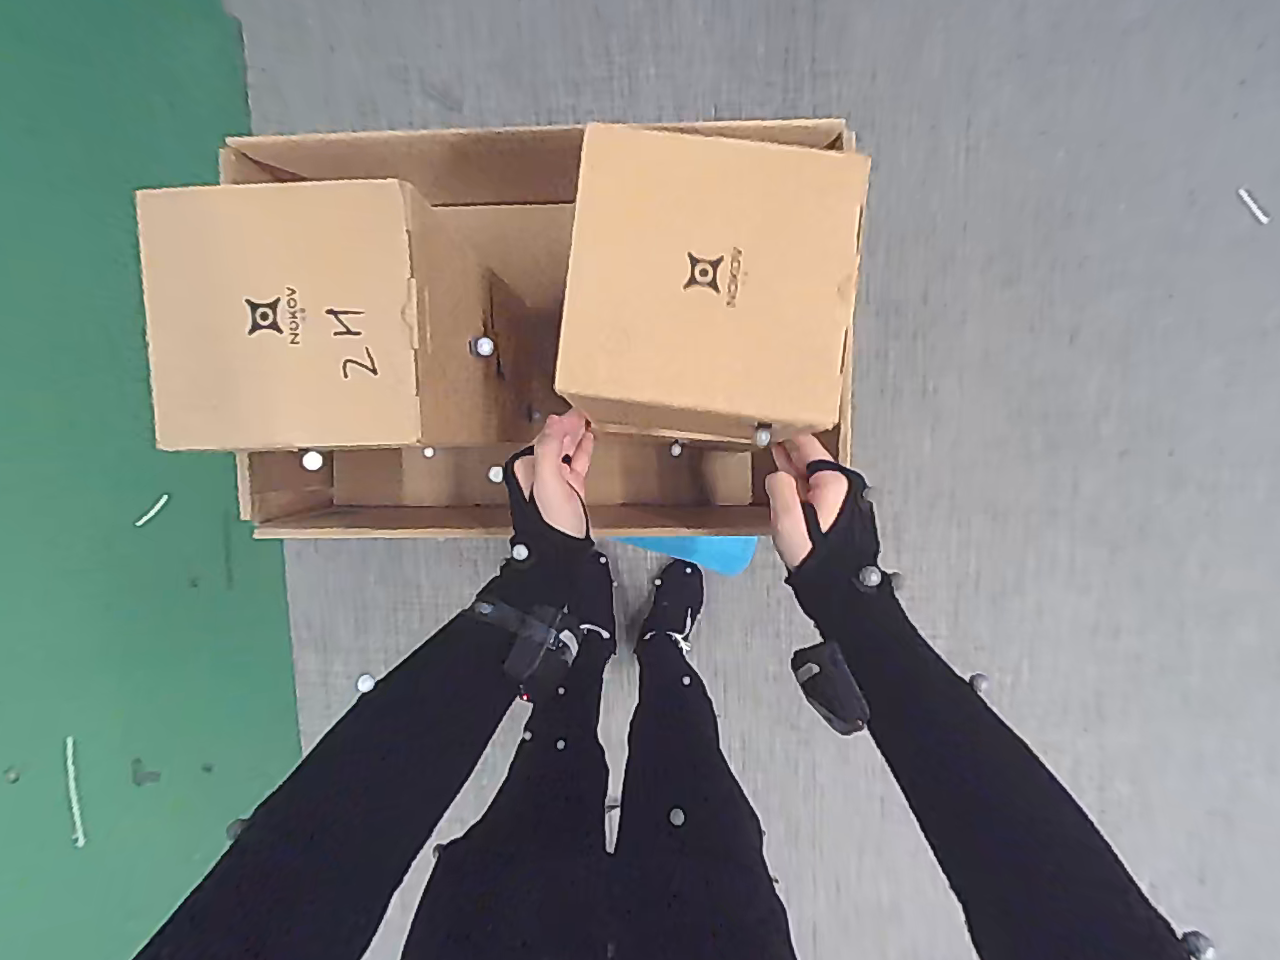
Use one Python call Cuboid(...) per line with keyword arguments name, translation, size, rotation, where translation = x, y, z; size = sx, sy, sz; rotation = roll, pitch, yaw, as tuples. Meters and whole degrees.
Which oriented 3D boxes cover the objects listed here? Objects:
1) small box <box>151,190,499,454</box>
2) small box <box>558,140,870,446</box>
Cuboid(name="small box", translation=(-0.223, -0.104, 0.426), size=(0.179, 0.176, 0.168), rotation=(-1, 94, 2))
Cuboid(name="small box", translation=(0.045, -0.118, 0.410), size=(0.179, 0.176, 0.168), rotation=(7, 91, 0))
